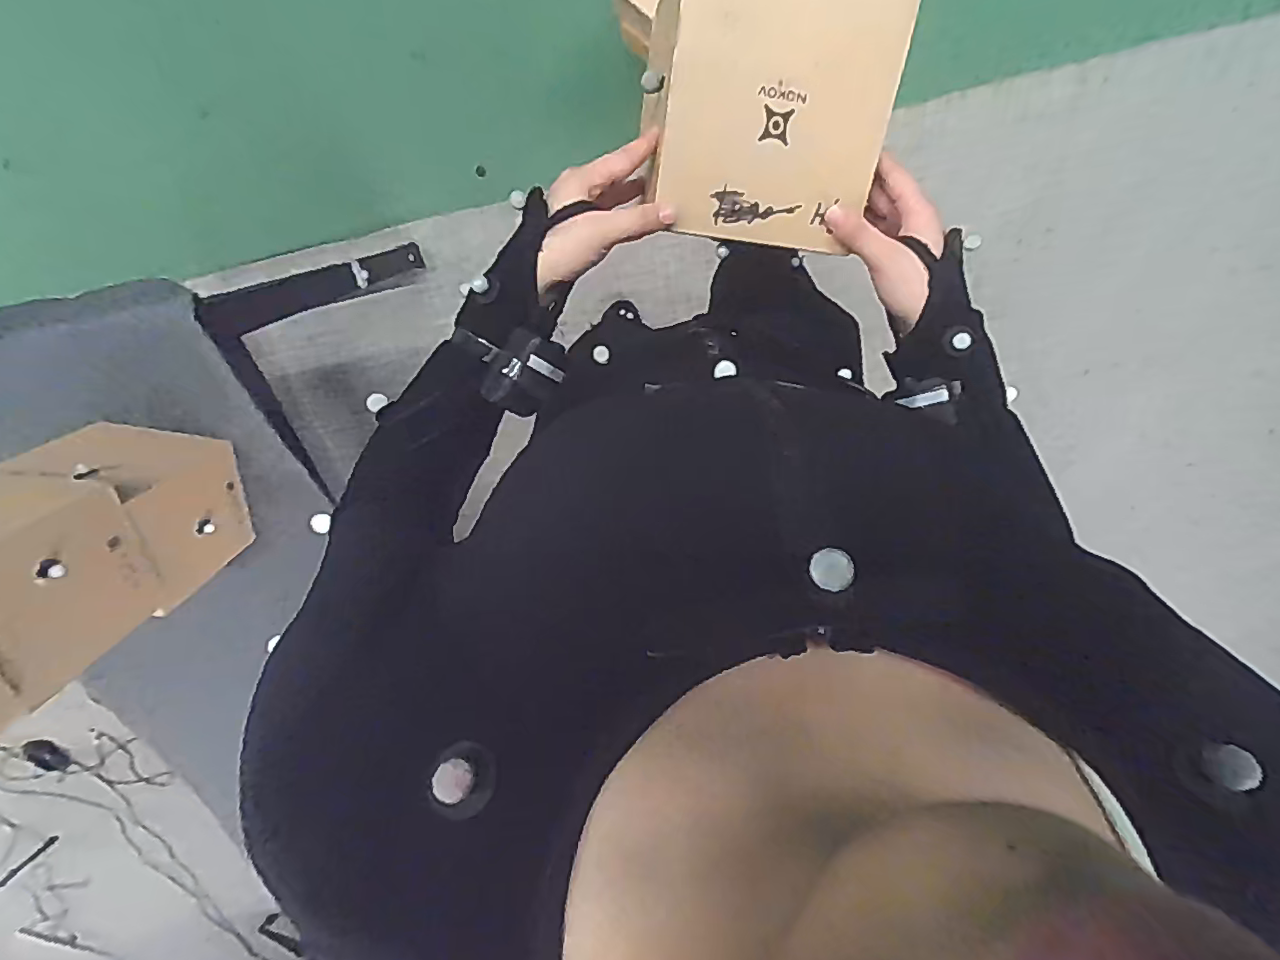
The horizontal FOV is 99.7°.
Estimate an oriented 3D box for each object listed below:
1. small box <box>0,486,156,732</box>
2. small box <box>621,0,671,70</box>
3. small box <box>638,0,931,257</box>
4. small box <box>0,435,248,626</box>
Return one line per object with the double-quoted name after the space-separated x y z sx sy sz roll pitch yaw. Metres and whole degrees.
-0.639 0.118 0.534 0.179 0.176 0.168 4 118 2 "small box"
0.084 -0.847 1.006 0.179 0.176 0.168 31 115 -14 "small box"
0.096 -0.297 0.453 0.168 0.176 0.179 3 117 -10 "small box"
-0.639 0.056 0.685 0.179 0.176 0.168 9 119 -1 "small box"
